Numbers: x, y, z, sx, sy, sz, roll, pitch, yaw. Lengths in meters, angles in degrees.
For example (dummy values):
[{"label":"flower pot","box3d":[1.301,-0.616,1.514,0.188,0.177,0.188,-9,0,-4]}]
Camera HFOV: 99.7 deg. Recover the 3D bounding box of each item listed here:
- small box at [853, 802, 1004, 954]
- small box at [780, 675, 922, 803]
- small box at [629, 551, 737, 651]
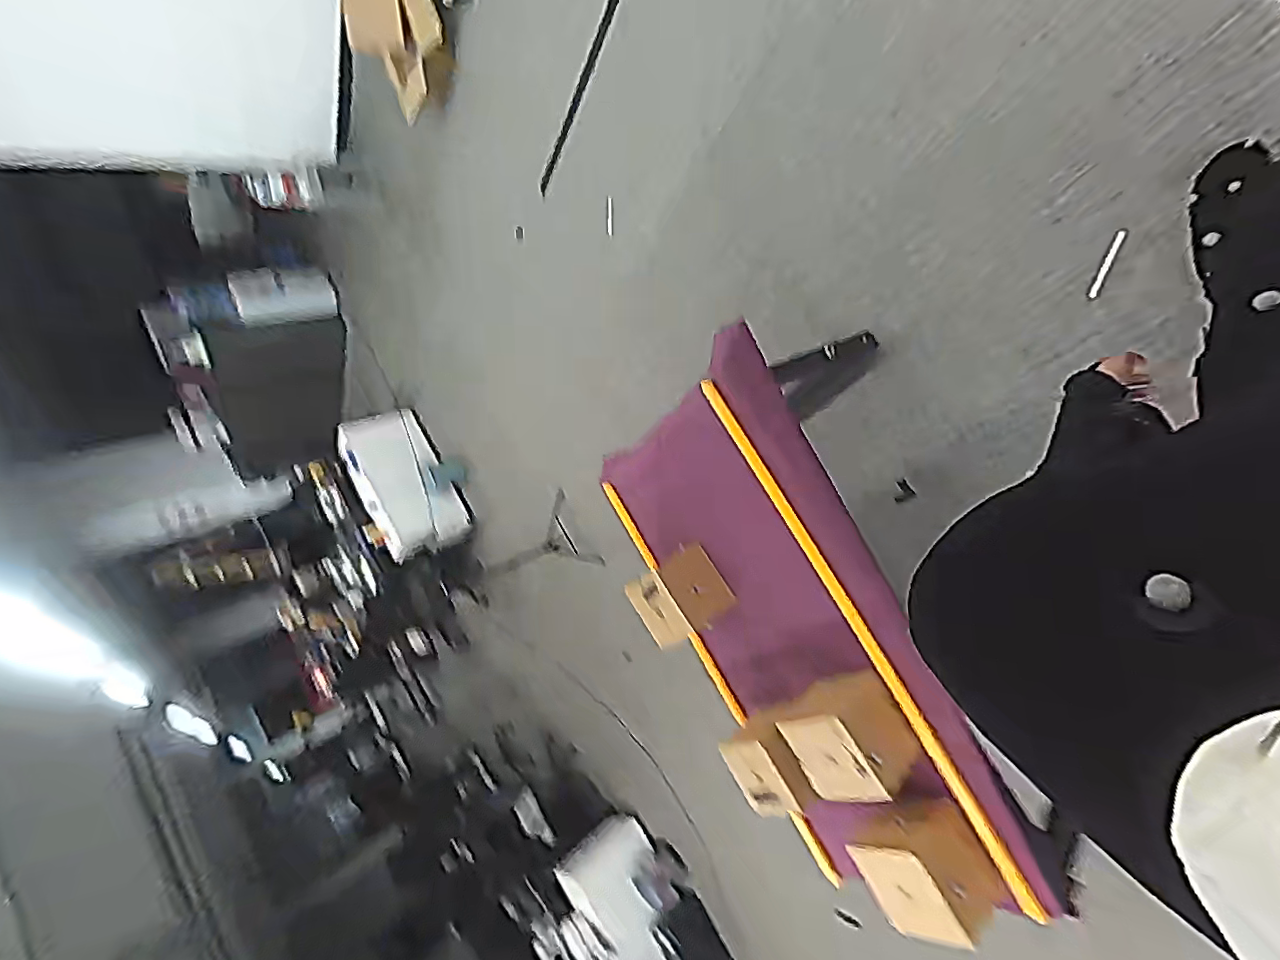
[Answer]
[{"label":"small box","box3d":[0.570,0.768,1.070,0.179,0.176,0.168,58,142,12]},{"label":"small box","box3d":[0.432,0.526,1.108,0.168,0.176,0.179,58,142,9]},{"label":"small box","box3d":[0.109,0.300,1.375,0.179,0.176,0.168,56,140,11]}]
